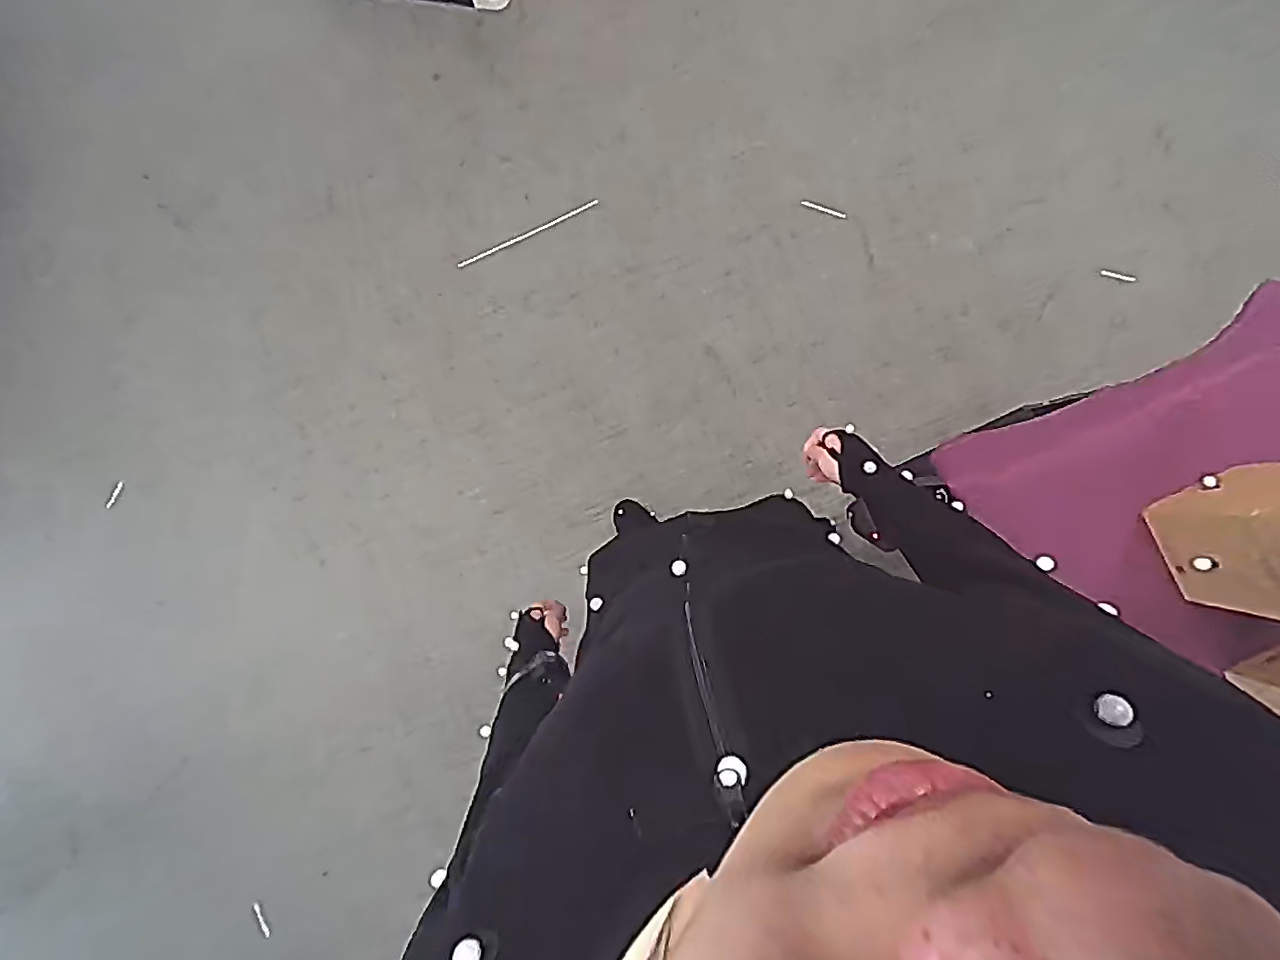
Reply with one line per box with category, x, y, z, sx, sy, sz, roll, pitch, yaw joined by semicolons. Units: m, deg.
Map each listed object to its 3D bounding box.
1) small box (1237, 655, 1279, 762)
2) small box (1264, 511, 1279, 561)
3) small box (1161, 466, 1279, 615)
small box;1.043;0.351;0.769;0.168;0.176;0.179;-25;86;2
small box;0.913;0.084;0.618;0.179;0.176;0.168;-26;87;2
small box;0.923;0.086;0.783;0.179;0.176;0.168;-25;88;3
